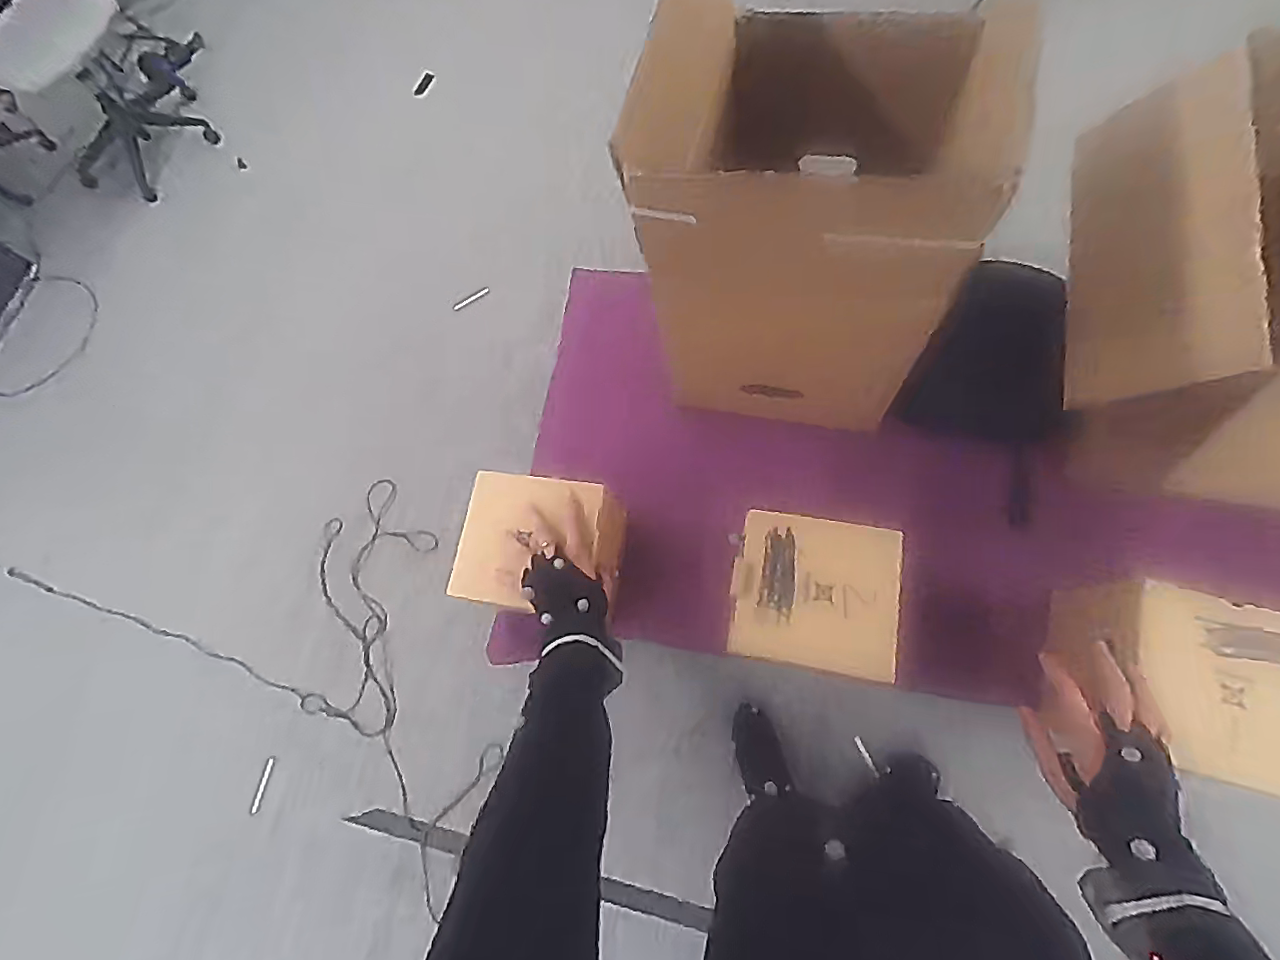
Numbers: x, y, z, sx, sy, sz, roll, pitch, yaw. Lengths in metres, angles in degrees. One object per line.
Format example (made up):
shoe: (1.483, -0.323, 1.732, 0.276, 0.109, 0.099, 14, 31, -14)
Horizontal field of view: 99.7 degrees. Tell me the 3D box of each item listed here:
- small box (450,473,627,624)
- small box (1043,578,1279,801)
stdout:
small box: (-0.126, 0.102, 0.744, 0.179, 0.176, 0.168, 6, 73, 9)
small box: (0.581, 0.222, 0.593, 0.168, 0.176, 0.179, 14, 76, 13)
